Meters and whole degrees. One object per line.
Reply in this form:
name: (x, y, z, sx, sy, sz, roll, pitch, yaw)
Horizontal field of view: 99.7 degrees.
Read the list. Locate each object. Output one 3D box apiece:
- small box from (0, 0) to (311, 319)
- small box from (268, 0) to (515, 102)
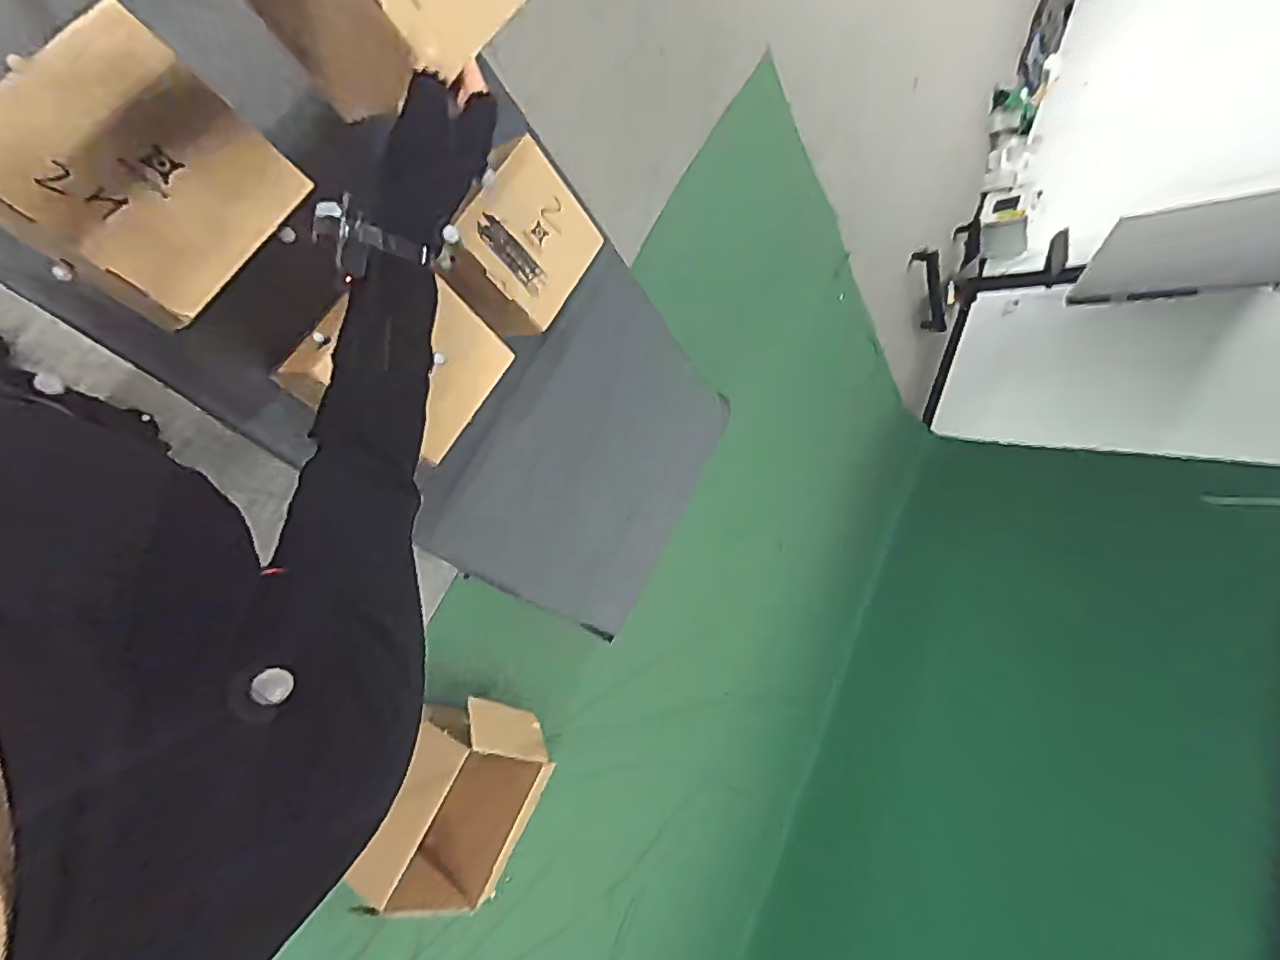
small box: (-0.451, -0.268, 0.491, 0.168, 0.176, 0.179, 44, 68, -41)
small box: (-0.213, -0.446, 0.436, 0.179, 0.176, 0.168, -60, 143, -15)
